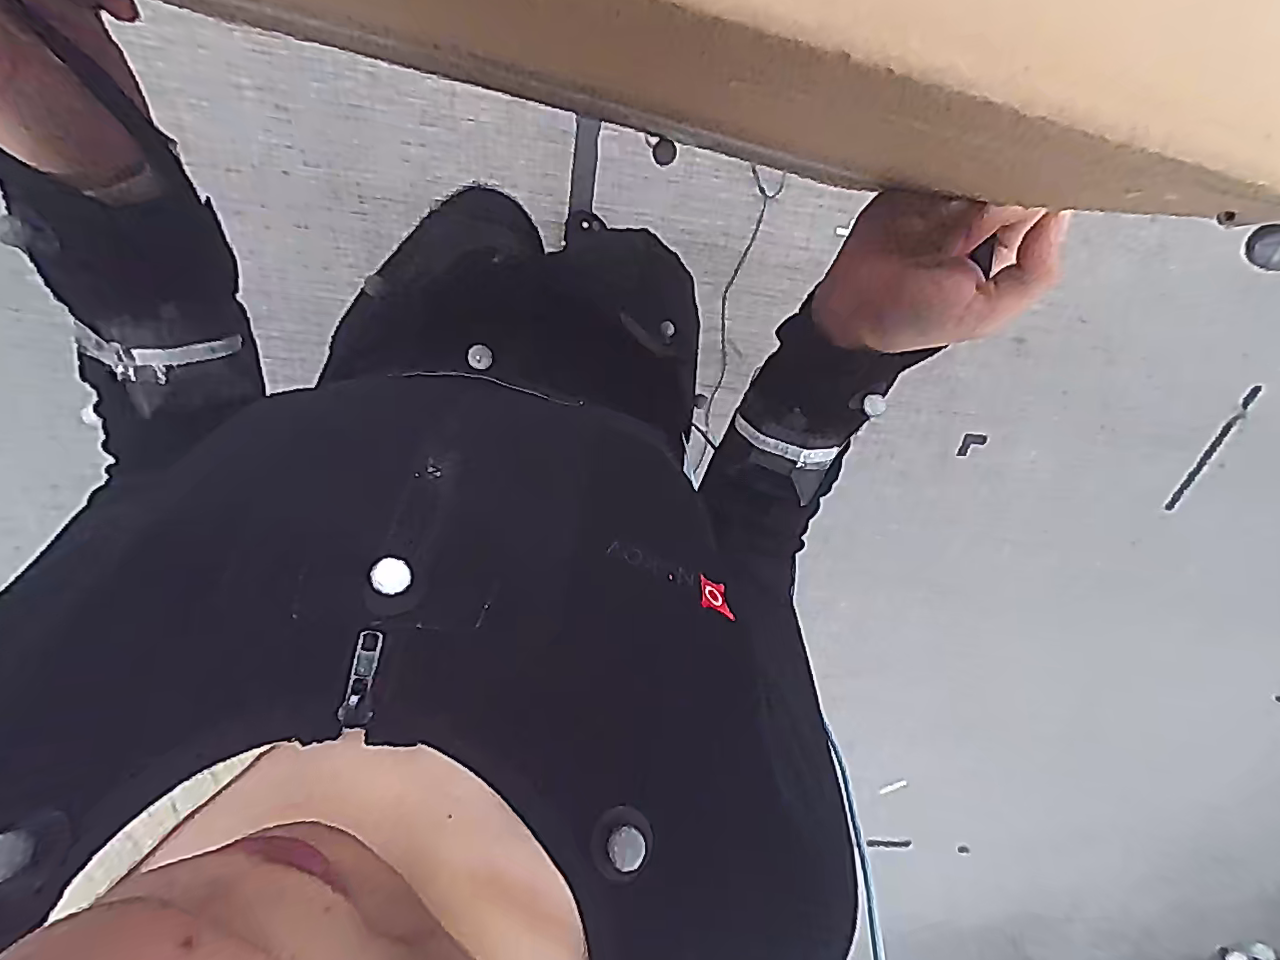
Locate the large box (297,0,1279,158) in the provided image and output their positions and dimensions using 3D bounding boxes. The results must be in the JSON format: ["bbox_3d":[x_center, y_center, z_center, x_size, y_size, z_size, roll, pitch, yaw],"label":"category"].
[{"bbox_3d":[-0.010,-0.310,0.137,0.408,0.320,0.320,9,121,-9],"label":"large box"}]
